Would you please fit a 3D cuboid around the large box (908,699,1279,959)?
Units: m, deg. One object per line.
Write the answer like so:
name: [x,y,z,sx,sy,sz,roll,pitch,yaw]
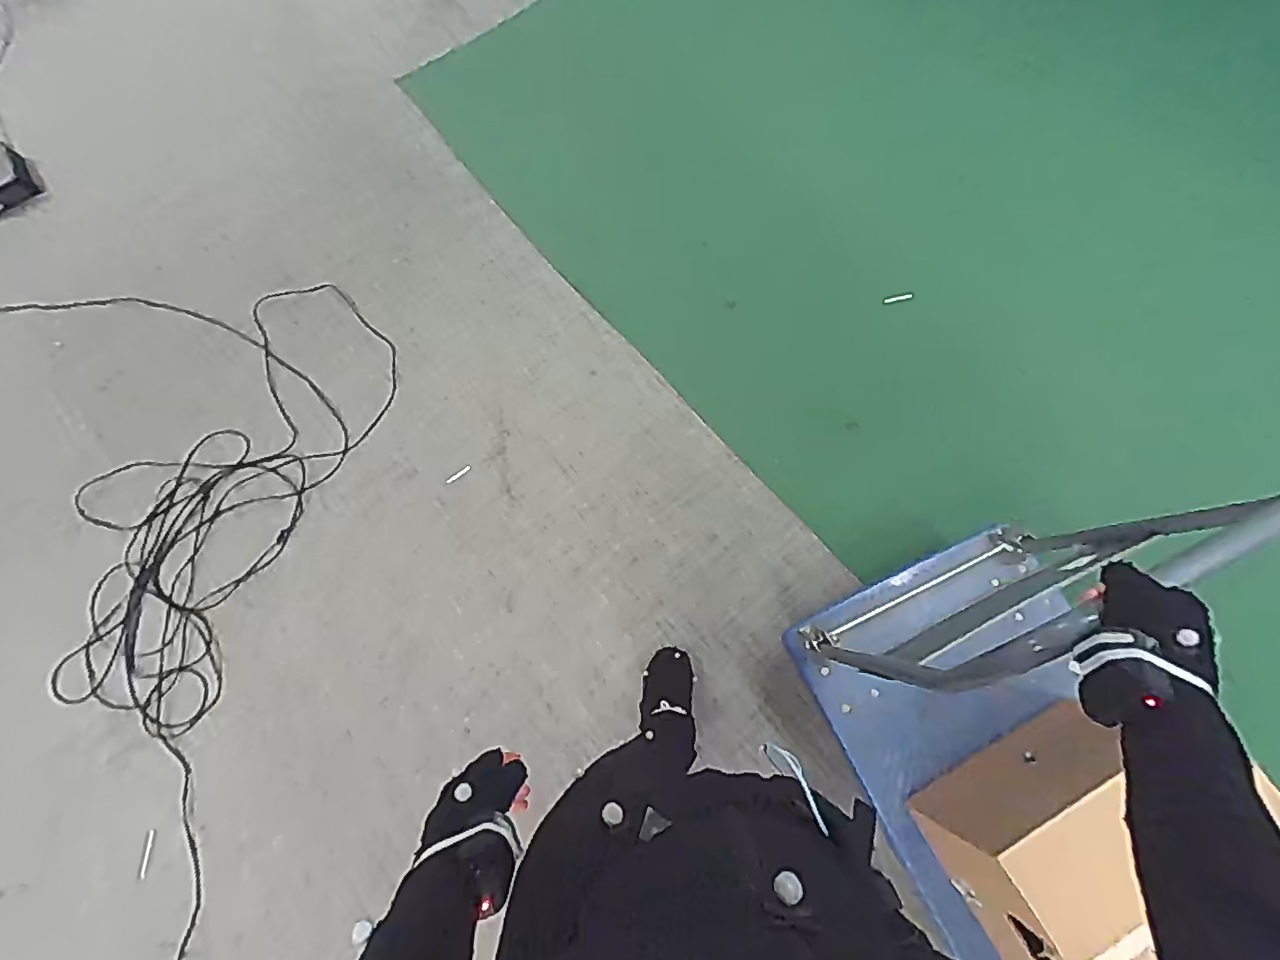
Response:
large box: [0.746,0.607,0.880,0.408,0.320,0.320,-28,74,-8]
